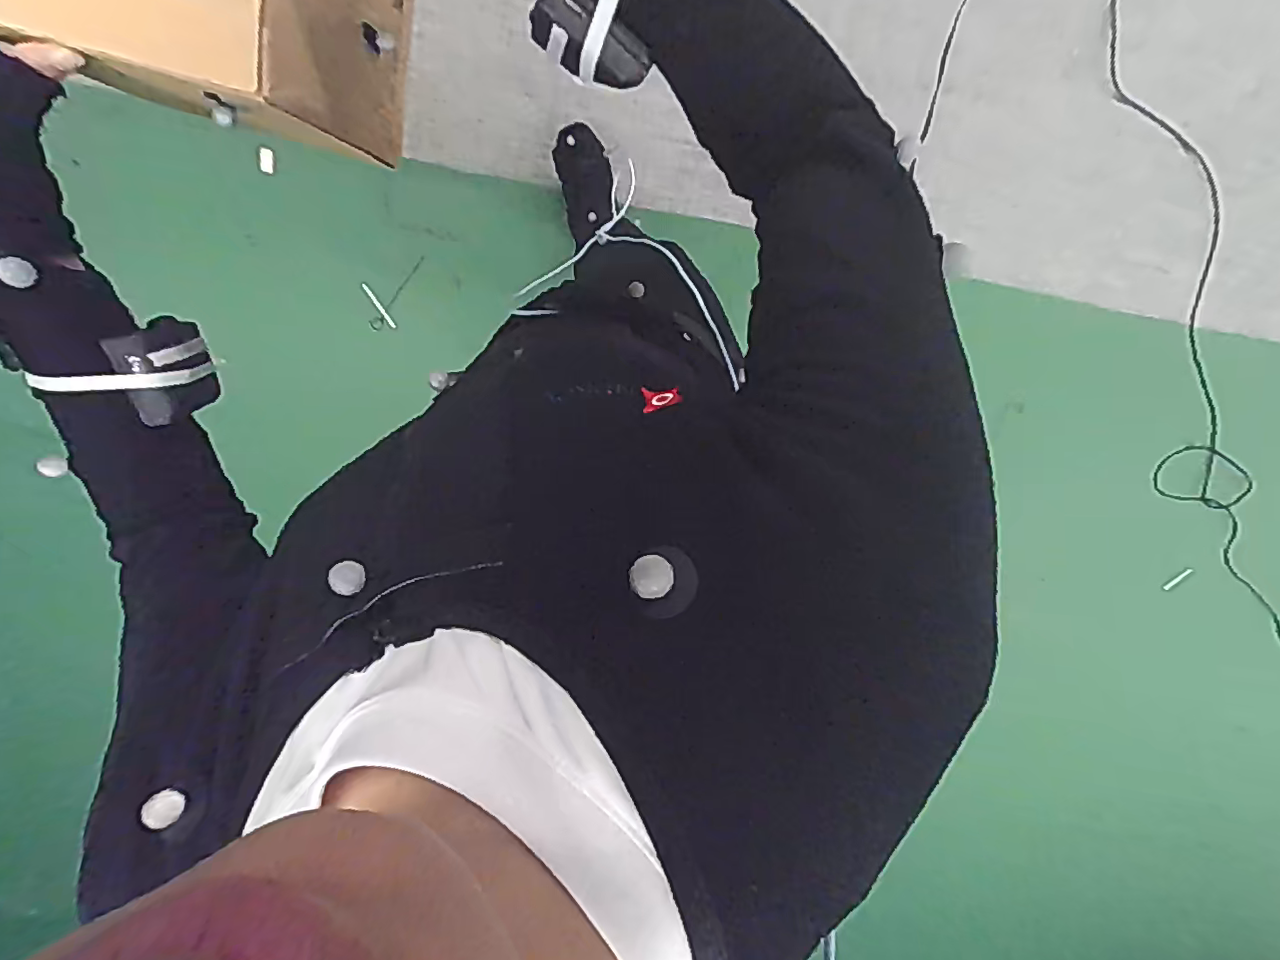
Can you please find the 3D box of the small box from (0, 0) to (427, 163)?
[{"bbox_3d":[-0.253,-0.320,0.331,0.179,0.176,0.168,13,108,-5],"label":"small box"}]
